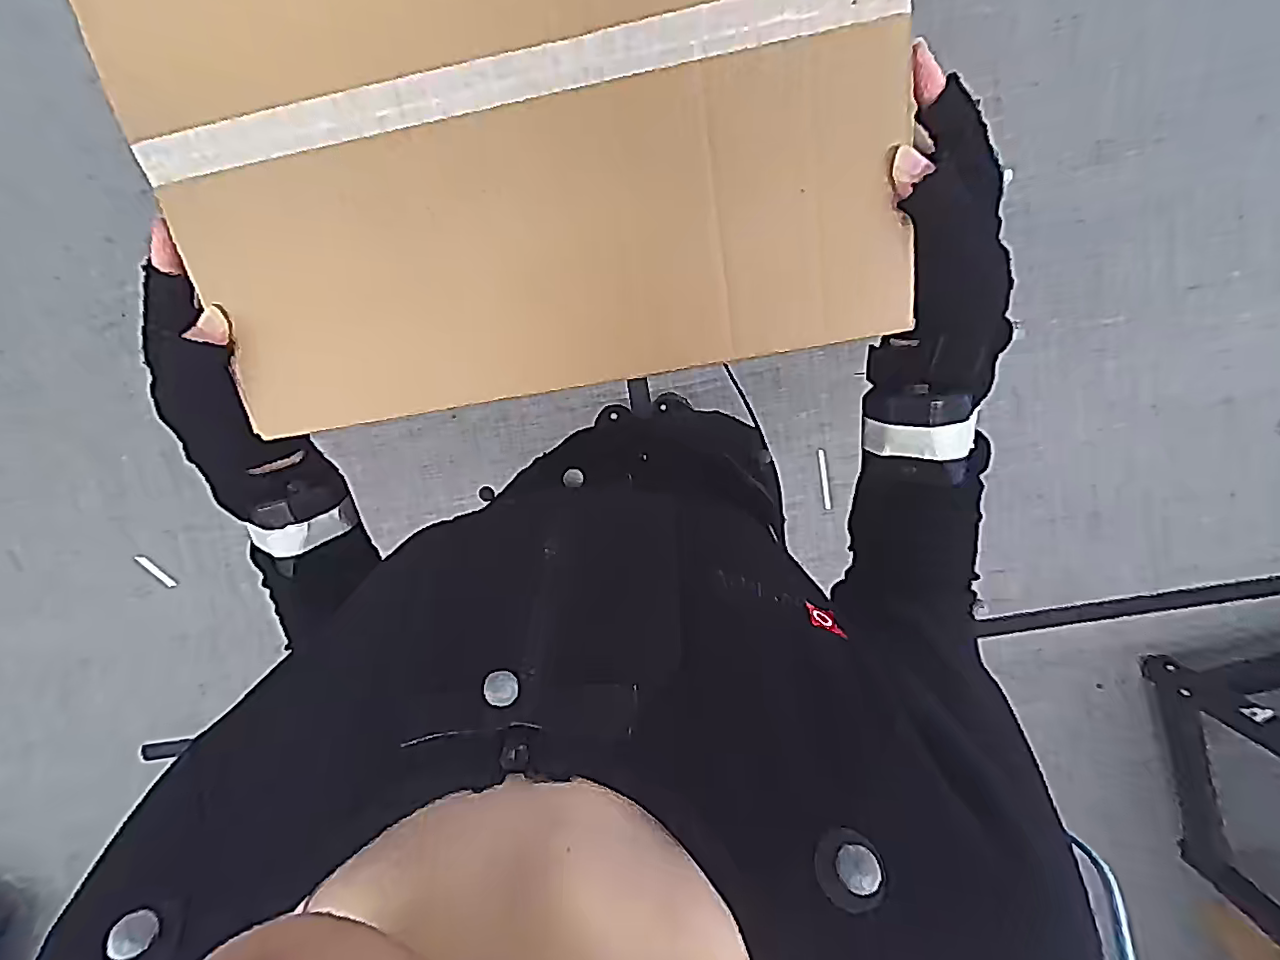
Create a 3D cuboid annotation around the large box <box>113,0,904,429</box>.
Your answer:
[{"bbox_3d":[-0.063,-0.254,0.430,0.408,0.320,0.320,-9,109,6],"label":"large box"}]
